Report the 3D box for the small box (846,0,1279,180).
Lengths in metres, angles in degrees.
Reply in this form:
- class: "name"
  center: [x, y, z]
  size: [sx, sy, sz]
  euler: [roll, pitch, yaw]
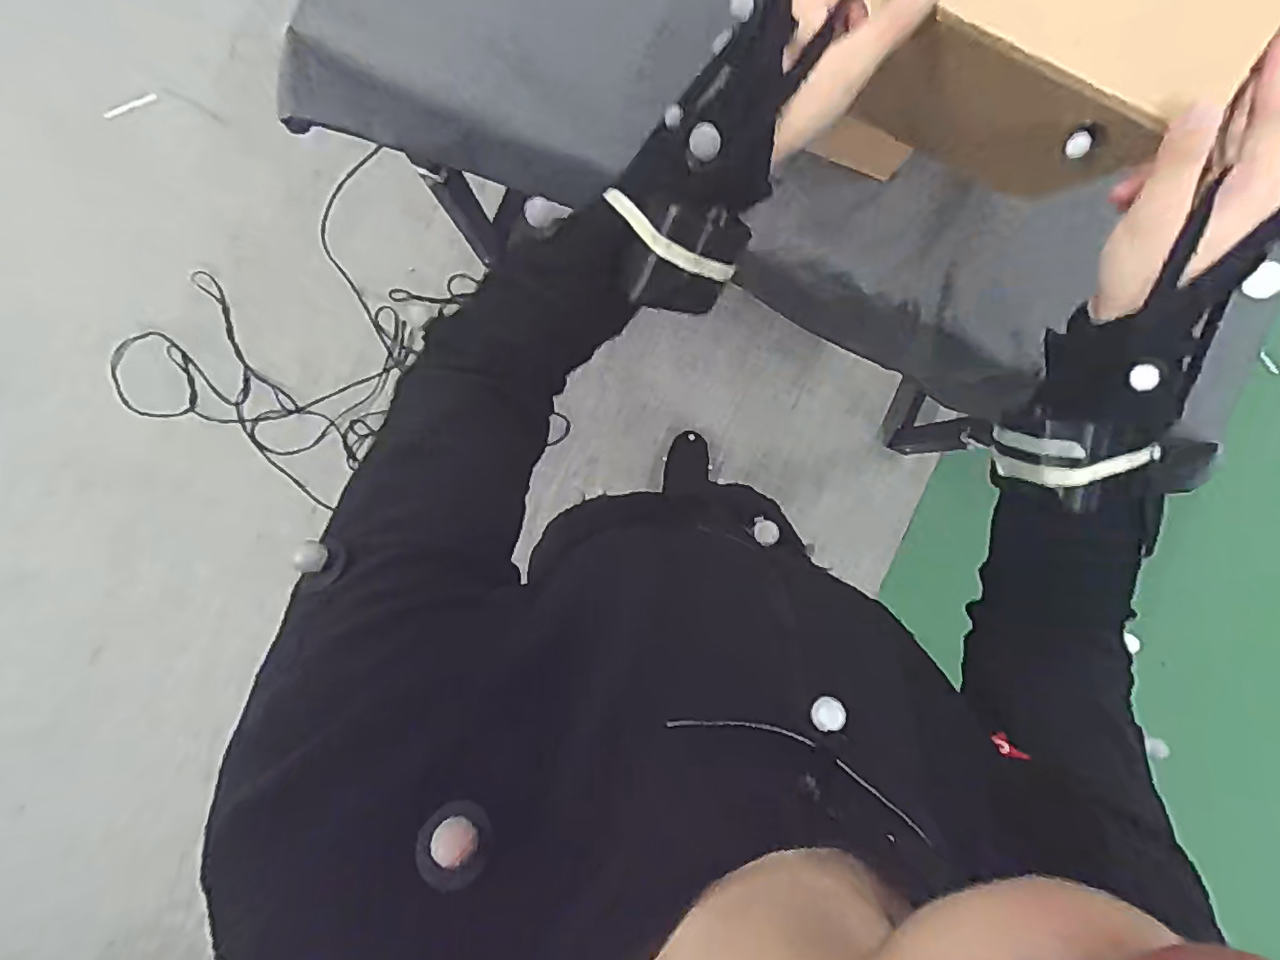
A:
- class: "small box"
  center: [0.247, -0.303, 0.312]
  size: [0.179, 0.176, 0.168]
  euler: [26, 109, 0]
